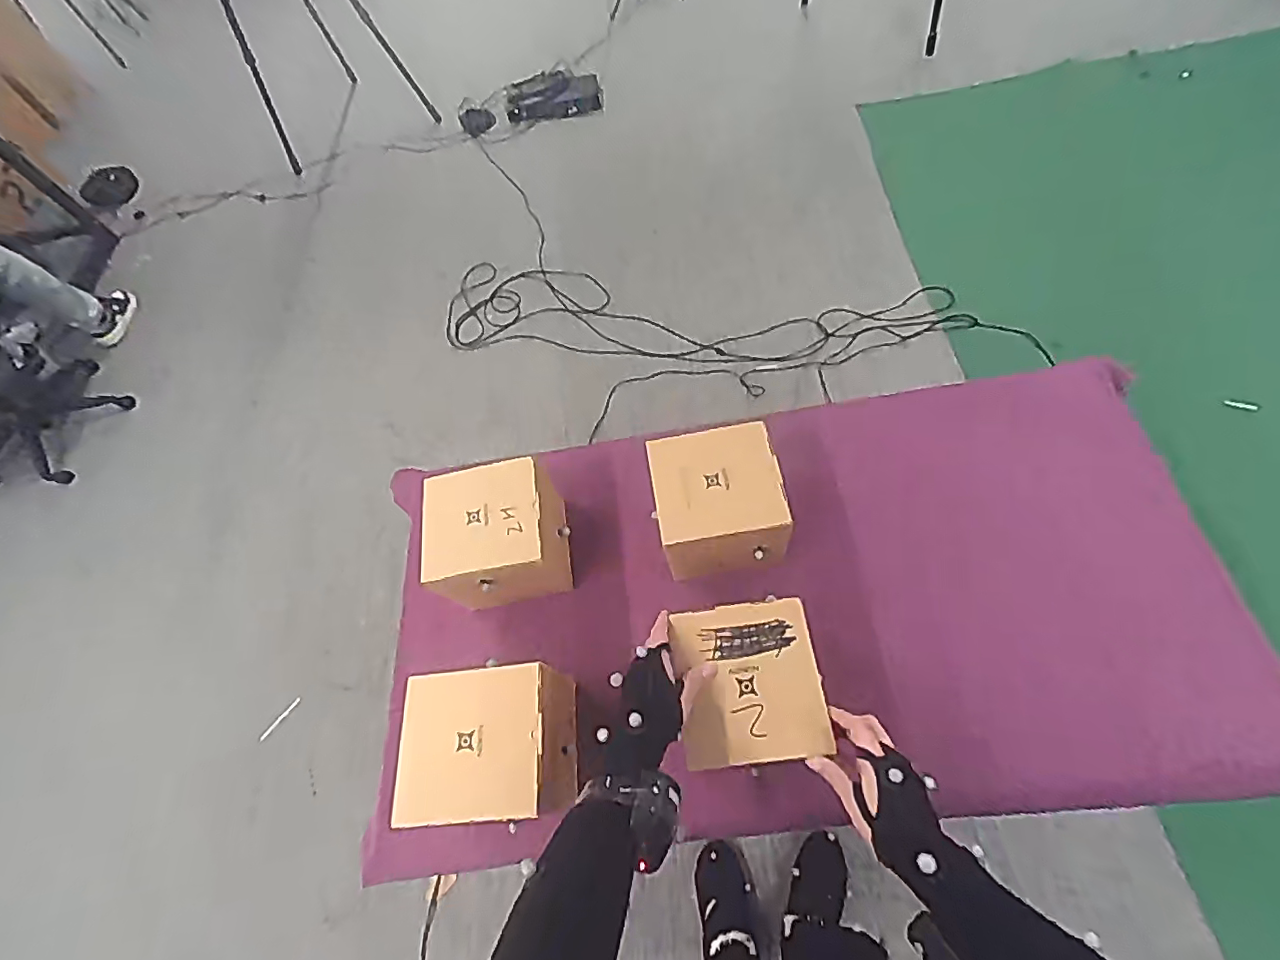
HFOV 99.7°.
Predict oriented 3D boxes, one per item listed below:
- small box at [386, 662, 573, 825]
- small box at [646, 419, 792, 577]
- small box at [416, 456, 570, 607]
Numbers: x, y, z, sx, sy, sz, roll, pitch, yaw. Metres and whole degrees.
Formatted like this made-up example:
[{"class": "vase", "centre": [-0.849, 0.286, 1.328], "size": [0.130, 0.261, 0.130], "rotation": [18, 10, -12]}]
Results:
[{"class": "small box", "centre": [-0.193, 0.343, 0.702], "size": [0.179, 0.176, 0.168], "rotation": [-8, 61, 5]}, {"class": "small box", "centre": [0.114, 0.034, 0.806], "size": [0.179, 0.176, 0.168], "rotation": [-10, 62, 6]}, {"class": "small box", "centre": [-0.219, 0.087, 0.835], "size": [0.179, 0.176, 0.168], "rotation": [-11, 63, 4]}]
